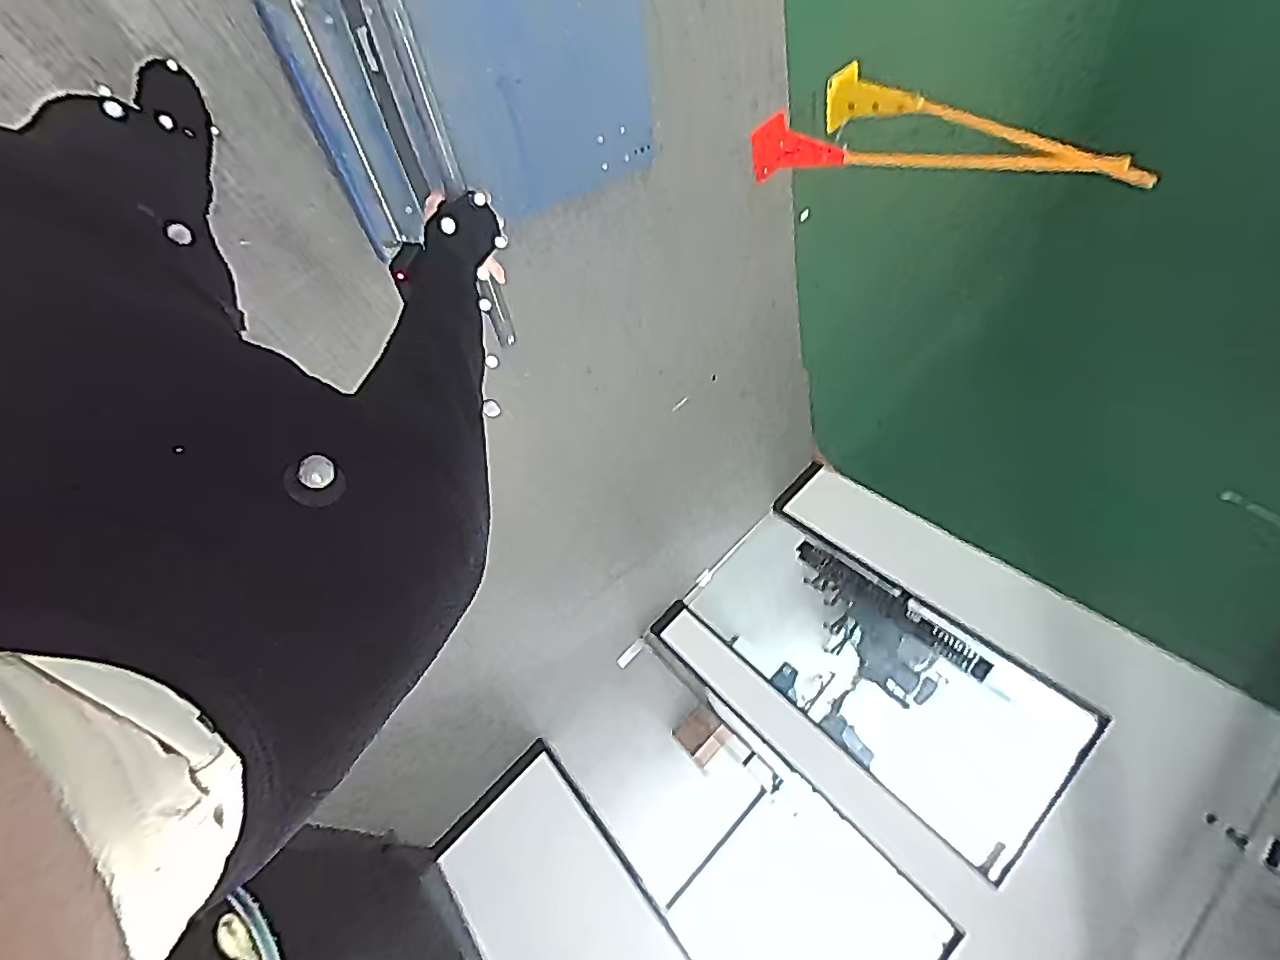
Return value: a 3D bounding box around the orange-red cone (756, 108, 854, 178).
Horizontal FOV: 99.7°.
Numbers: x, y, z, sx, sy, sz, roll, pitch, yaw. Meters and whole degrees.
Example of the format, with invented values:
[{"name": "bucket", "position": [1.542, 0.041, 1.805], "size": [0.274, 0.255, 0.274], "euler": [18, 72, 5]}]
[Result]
[{"name": "orange-red cone", "position": [0.639, -1.252, 2.034], "size": [0.199, 0.360, 0.198], "euler": [-44, 143, -15]}]
